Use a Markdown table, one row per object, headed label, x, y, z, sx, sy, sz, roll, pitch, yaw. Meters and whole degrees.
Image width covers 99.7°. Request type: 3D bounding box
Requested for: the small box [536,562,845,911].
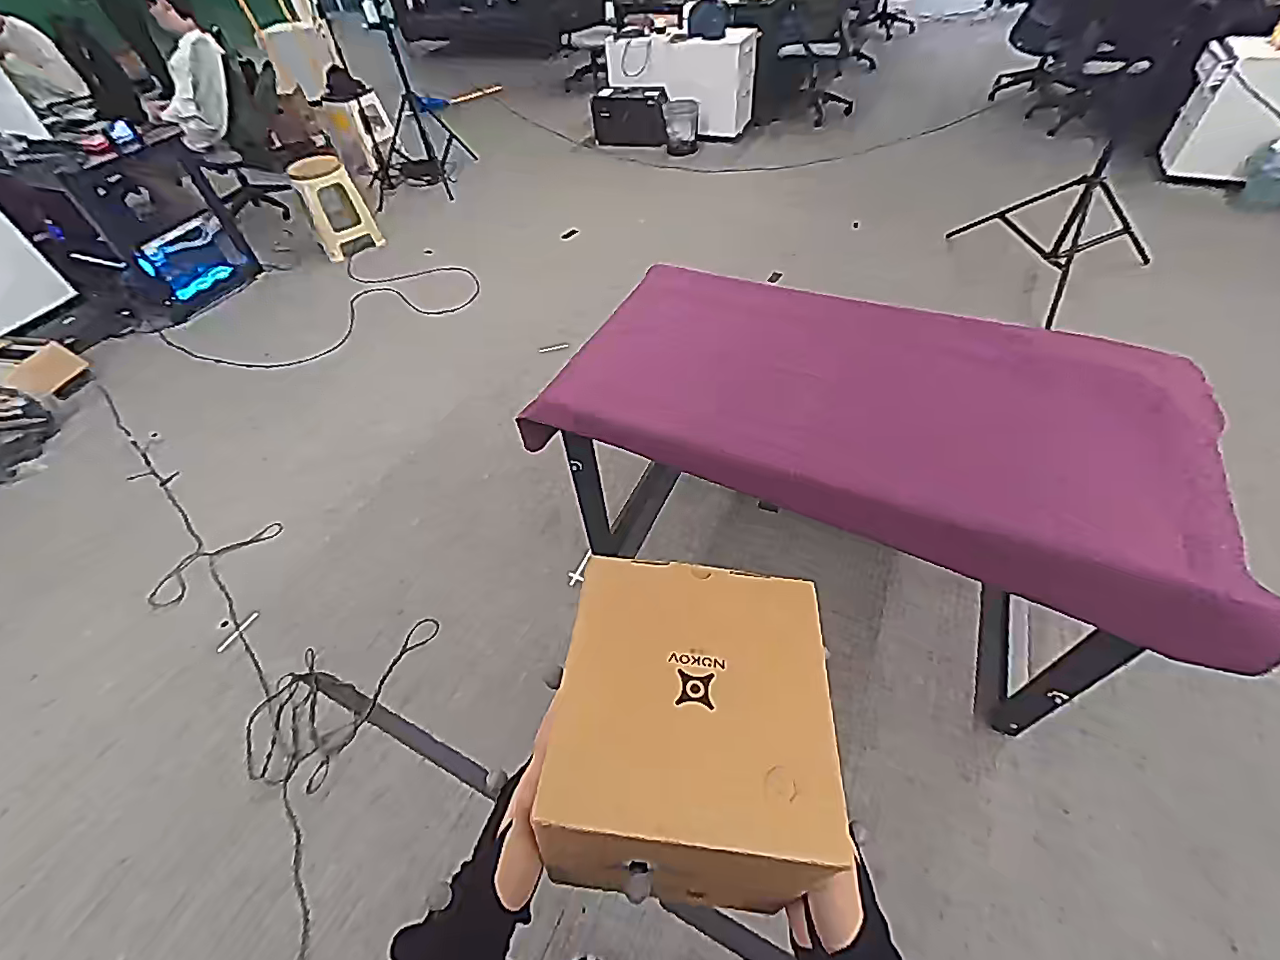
| label | x | y | z | sx | sy | sz | roll | pitch | yaw |
| --- | --- | --- | --- | --- | --- | --- | --- | --- | --- |
| small box | 0.031 | 0.187 | 0.395 | 0.168 | 0.176 | 0.179 | 6 | 43 | 2 |
